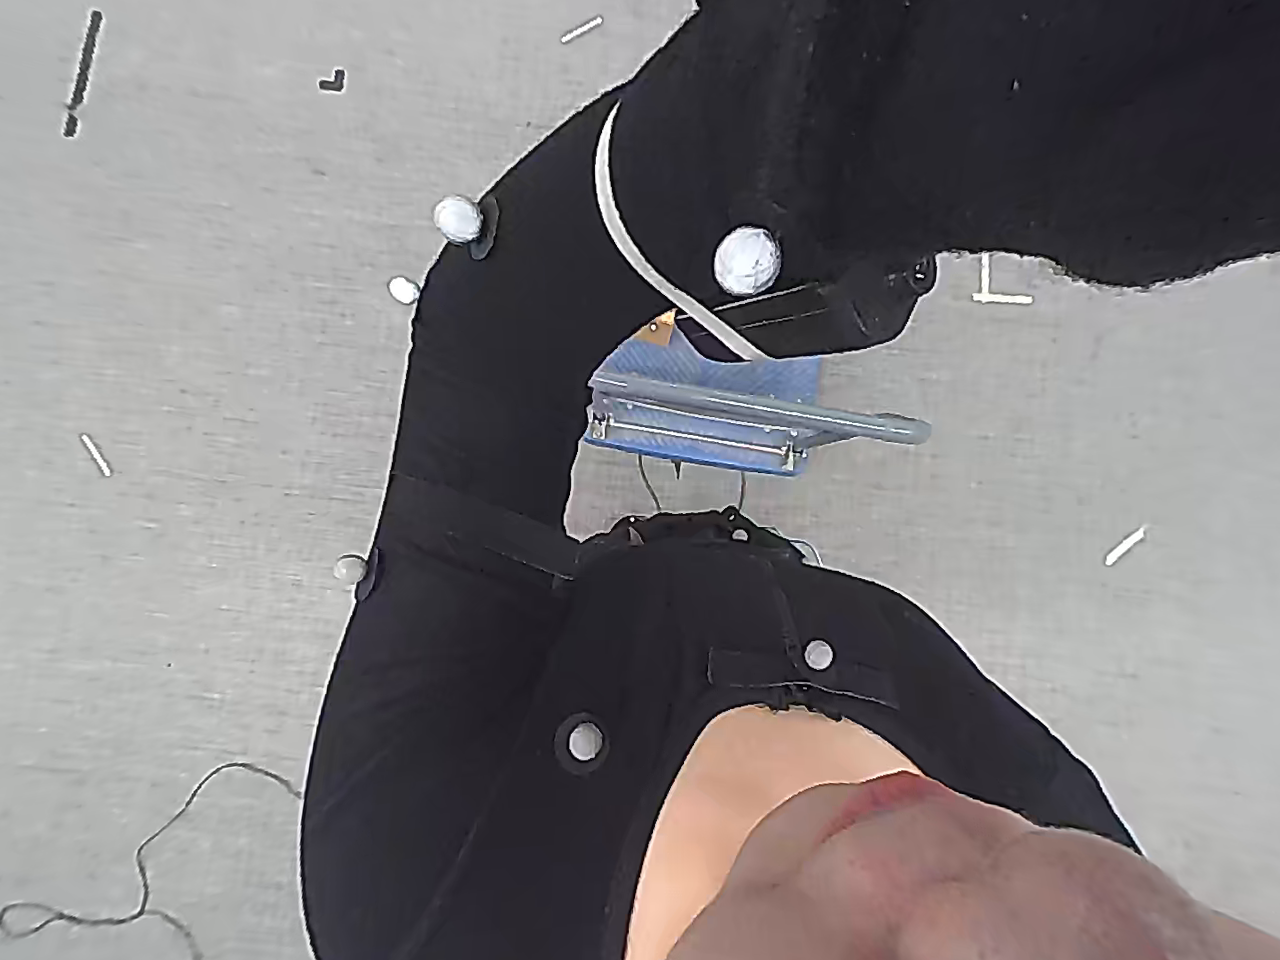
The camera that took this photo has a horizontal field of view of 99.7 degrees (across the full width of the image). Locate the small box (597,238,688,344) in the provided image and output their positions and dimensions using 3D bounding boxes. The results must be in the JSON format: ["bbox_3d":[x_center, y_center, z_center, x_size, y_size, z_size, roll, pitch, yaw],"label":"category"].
[{"bbox_3d":[0.003,-0.447,1.307,0.179,0.176,0.168,15,85,-1],"label":"small box"}]

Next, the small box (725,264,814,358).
[{"bbox_3d":[0.305,-0.400,1.307,0.179,0.176,0.168,4,86,-1],"label":"small box"}]
